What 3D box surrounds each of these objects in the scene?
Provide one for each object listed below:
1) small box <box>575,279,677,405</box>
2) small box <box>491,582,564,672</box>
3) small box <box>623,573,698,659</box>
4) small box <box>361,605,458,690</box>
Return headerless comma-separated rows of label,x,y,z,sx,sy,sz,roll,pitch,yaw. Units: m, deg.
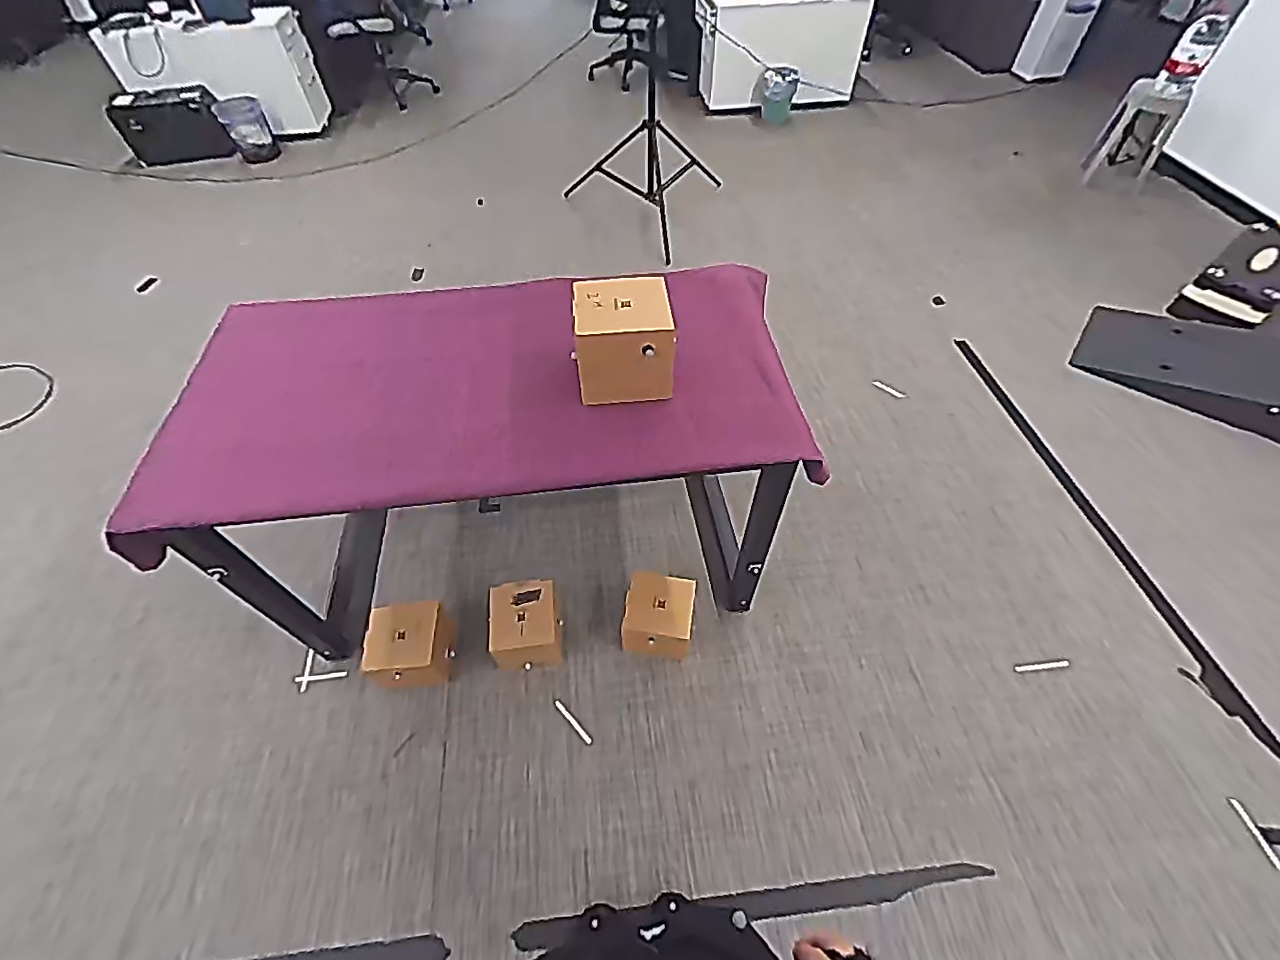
small box,-0.029,-0.261,1.037,0.179,0.176,0.168,-5,52,-2
small box,-0.298,0.398,1.456,0.168,0.176,0.179,-7,54,-4
small box,0.058,0.374,1.471,0.179,0.176,0.168,7,54,8
small box,-0.599,0.445,1.428,0.179,0.176,0.168,-4,53,-3
